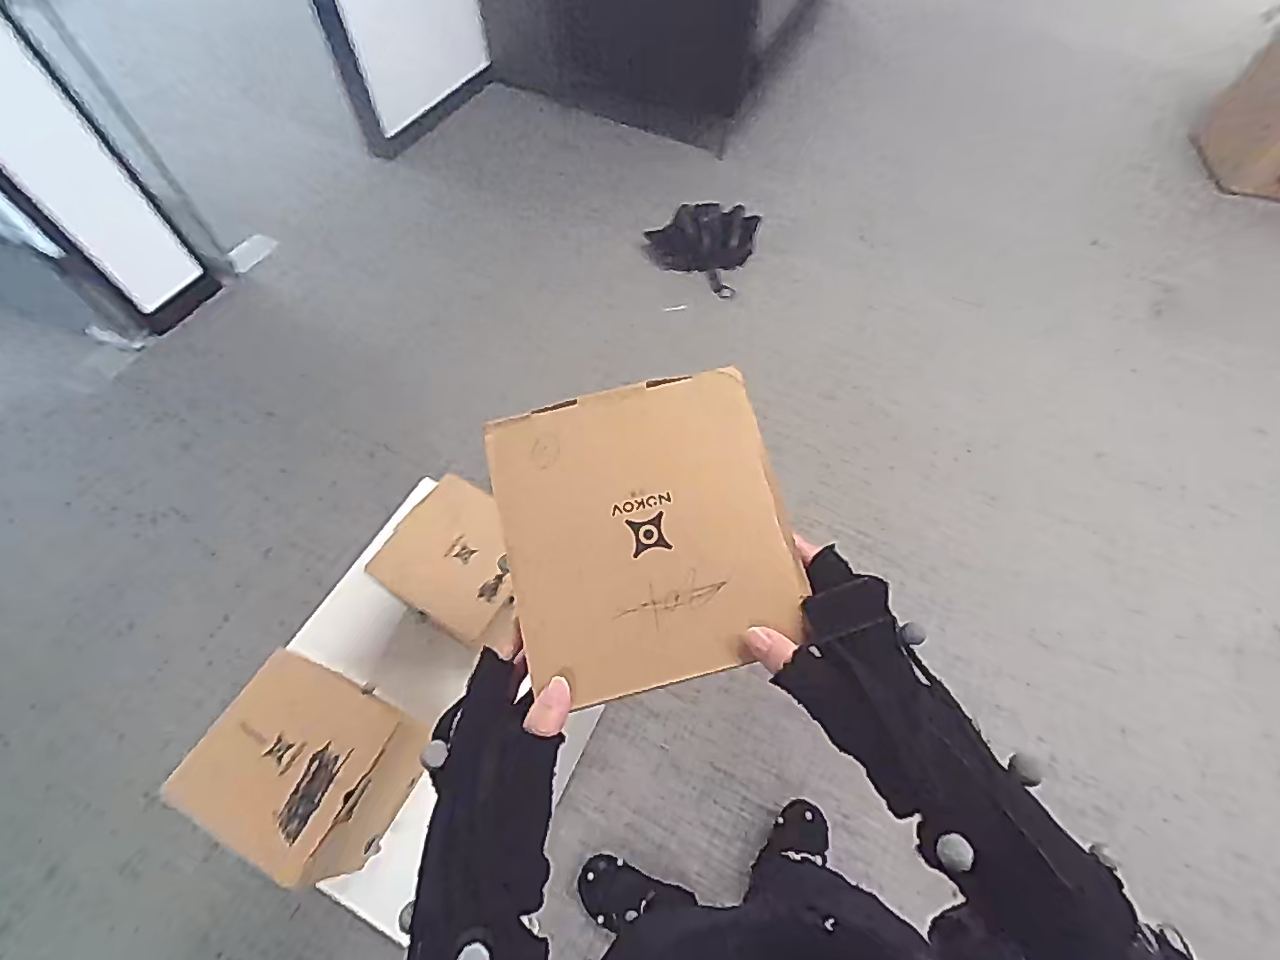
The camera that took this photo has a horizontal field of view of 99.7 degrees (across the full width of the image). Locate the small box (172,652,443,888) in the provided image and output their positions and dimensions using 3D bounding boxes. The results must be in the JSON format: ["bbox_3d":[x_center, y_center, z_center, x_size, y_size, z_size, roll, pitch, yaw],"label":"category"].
[{"bbox_3d":[-0.364,0.331,0.634,0.179,0.176,0.168,24,61,13],"label":"small box"}]

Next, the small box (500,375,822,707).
[{"bbox_3d":[0.007,0.049,0.402,0.168,0.176,0.179,-13,77,-3],"label":"small box"}]

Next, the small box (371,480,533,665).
[{"bbox_3d":[-0.224,0.135,0.754,0.179,0.176,0.168,26,63,14],"label":"small box"}]
